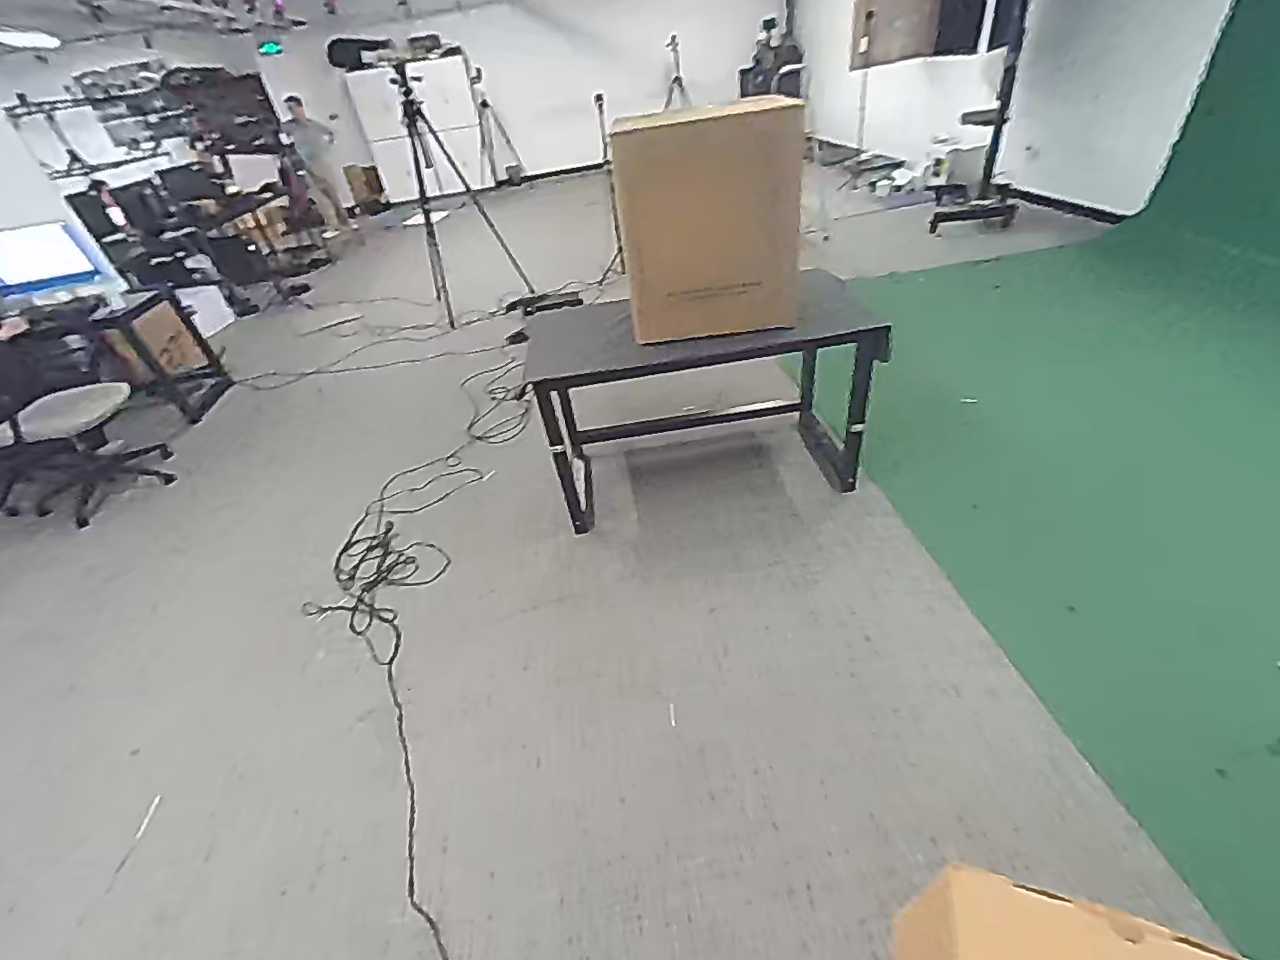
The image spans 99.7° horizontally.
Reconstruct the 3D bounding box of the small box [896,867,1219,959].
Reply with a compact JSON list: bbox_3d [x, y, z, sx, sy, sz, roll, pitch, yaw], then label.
[{"bbox_3d":[0.237,0.356,0.286,0.168,0.176,0.179,9,44,19],"label":"small box"}]
